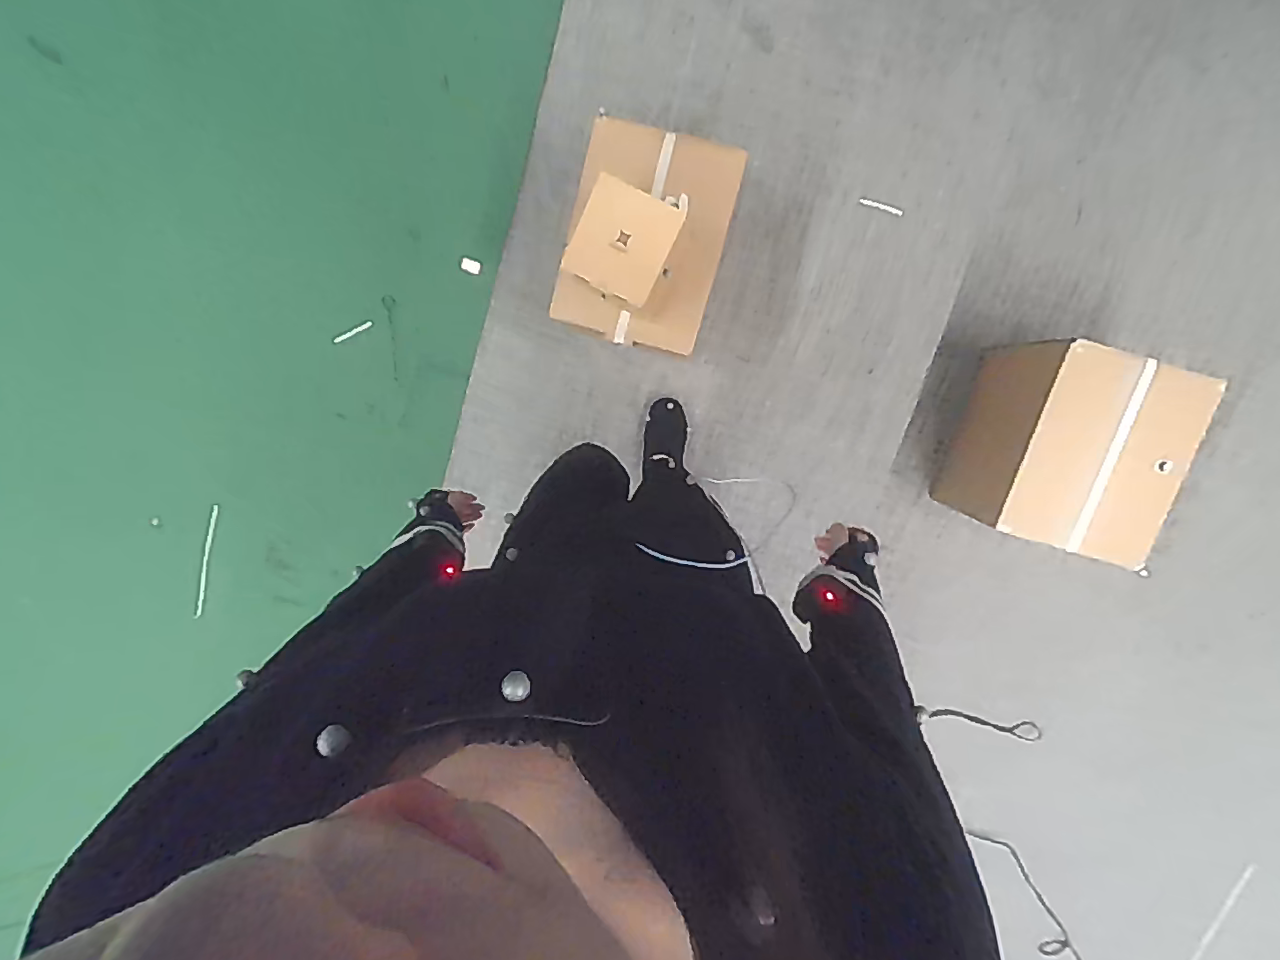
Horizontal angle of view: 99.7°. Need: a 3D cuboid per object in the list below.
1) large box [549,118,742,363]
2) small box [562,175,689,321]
[{"bbox_3d":[0.018,-0.506,1.235,0.320,0.320,0.408,16,100,1],"label":"large box"},{"bbox_3d":[-0.022,-0.418,1.005,0.168,0.176,0.179,27,101,0],"label":"small box"}]
